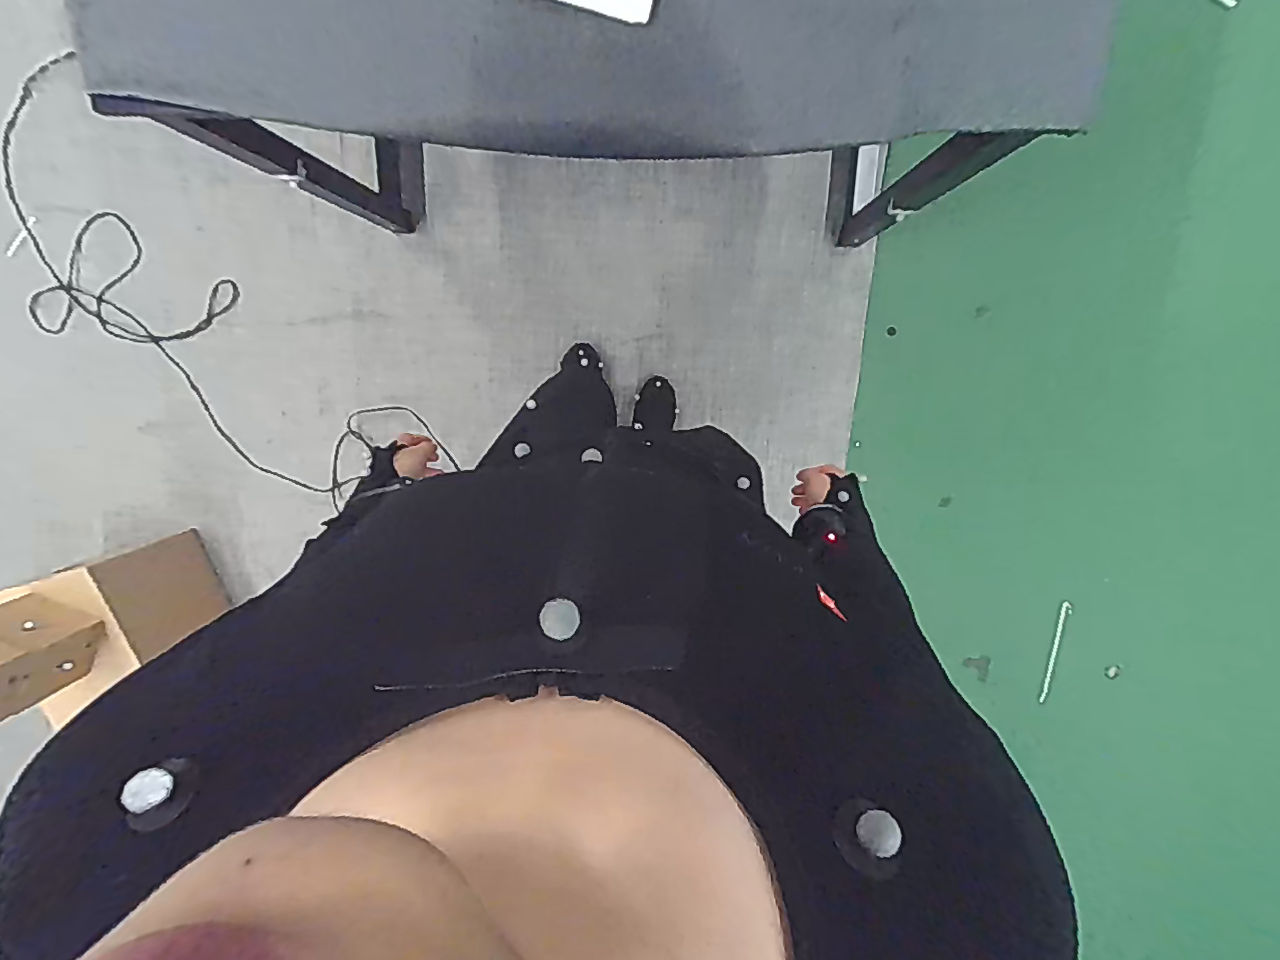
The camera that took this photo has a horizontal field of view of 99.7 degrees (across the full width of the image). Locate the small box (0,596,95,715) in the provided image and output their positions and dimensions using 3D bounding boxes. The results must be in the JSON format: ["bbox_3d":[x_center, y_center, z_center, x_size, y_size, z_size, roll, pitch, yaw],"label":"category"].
[{"bbox_3d":[-1.409,0.389,1.226,0.179,0.176,0.168,24,102,-5],"label":"small box"}]
